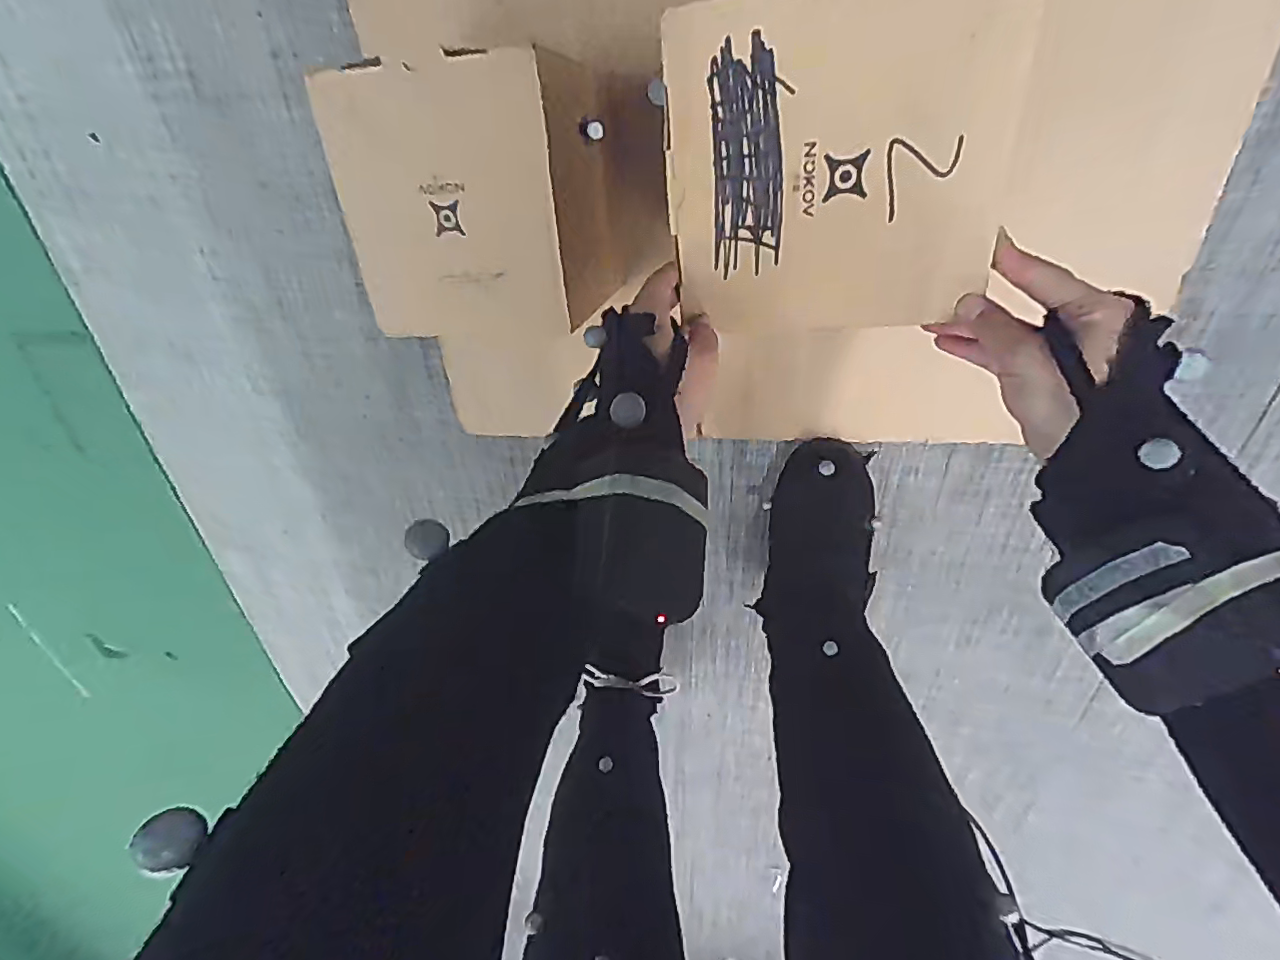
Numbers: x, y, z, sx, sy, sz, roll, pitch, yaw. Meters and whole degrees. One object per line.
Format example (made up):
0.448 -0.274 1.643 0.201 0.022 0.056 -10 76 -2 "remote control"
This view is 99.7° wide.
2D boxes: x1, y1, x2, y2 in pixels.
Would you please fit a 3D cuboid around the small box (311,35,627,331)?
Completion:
-0.113 -0.231 0.442 0.168 0.176 0.179 3 122 13 "small box"
